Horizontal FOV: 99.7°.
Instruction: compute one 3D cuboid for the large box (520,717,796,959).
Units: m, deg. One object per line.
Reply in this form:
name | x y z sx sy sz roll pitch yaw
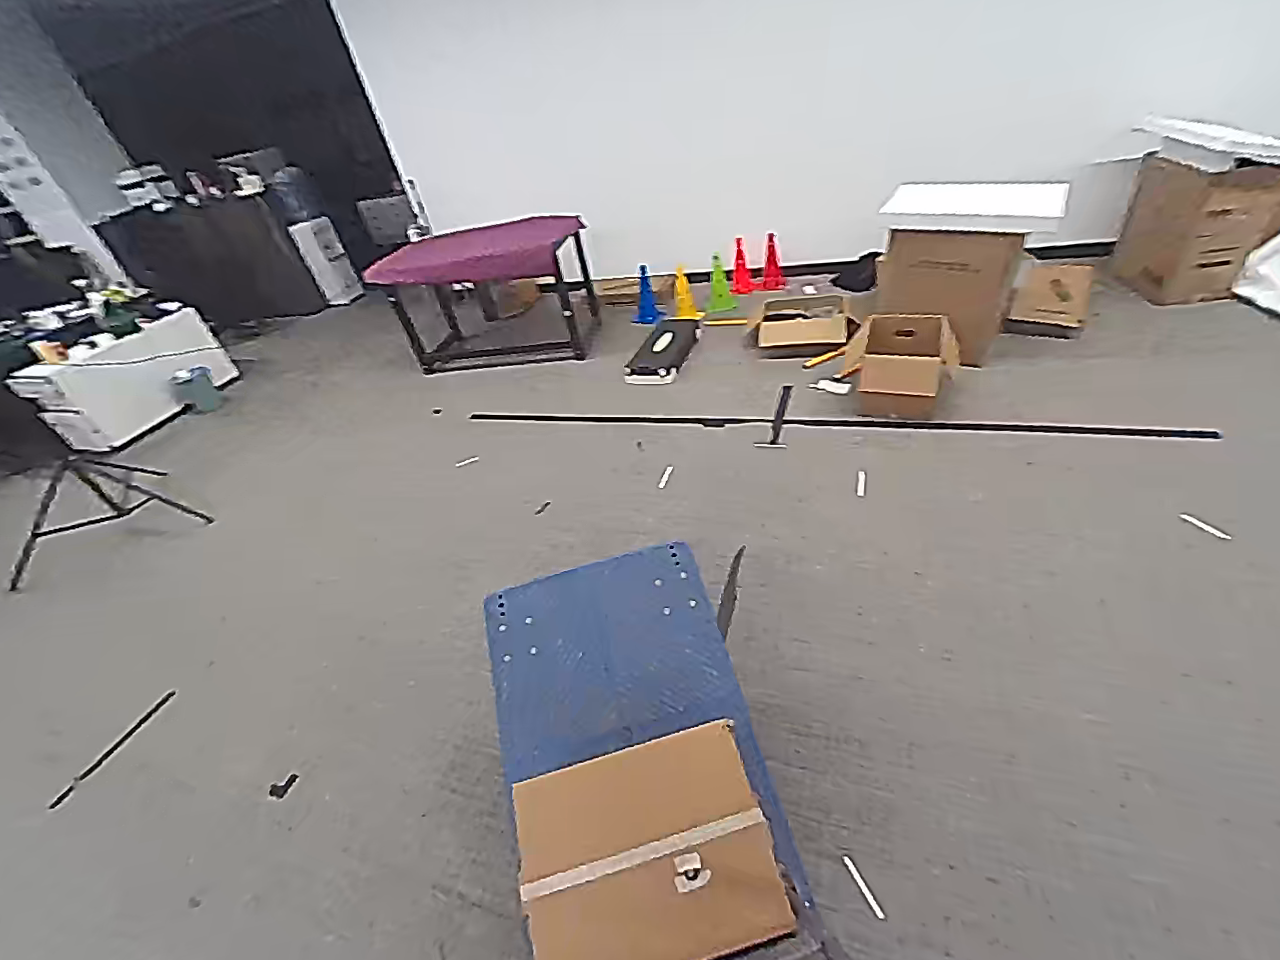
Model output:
large box | 0.025 0.695 1.031 0.408 0.320 0.320 -16 60 -5
